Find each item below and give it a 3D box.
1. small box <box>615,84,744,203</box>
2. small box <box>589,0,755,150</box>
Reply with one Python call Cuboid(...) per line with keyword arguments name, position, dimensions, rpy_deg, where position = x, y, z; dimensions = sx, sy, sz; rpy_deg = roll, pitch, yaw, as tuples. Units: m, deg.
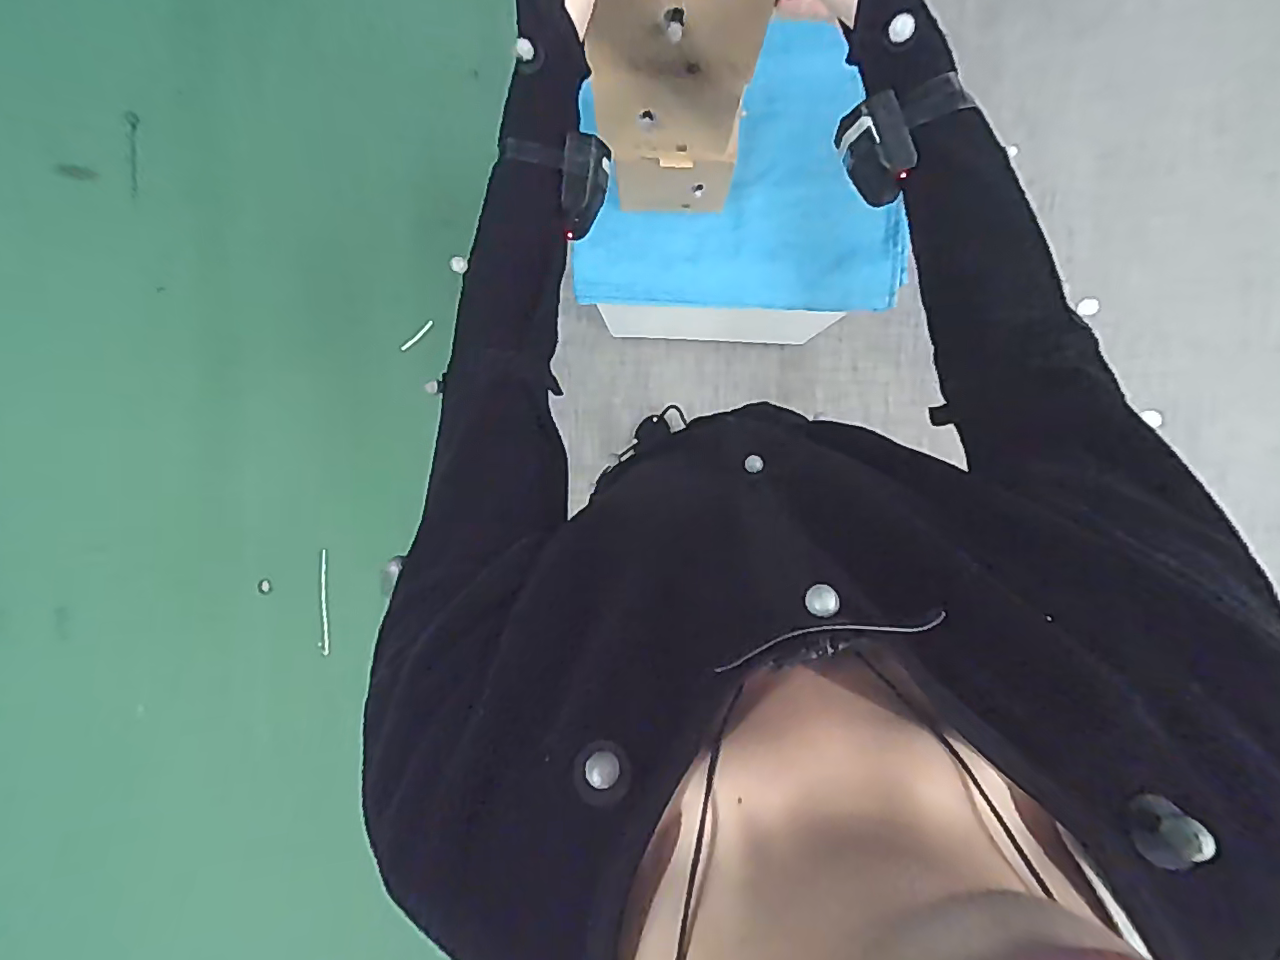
Cuboid(name="small box", position=(0.056, -0.520, 0.776), dimensions=(0.168, 0.176, 0.179), rpy_deg=(3, 94, 1))
Cuboid(name="small box", position=(0.038, -0.507, 0.615), dimensions=(0.168, 0.176, 0.179), rpy_deg=(4, 93, 1))
